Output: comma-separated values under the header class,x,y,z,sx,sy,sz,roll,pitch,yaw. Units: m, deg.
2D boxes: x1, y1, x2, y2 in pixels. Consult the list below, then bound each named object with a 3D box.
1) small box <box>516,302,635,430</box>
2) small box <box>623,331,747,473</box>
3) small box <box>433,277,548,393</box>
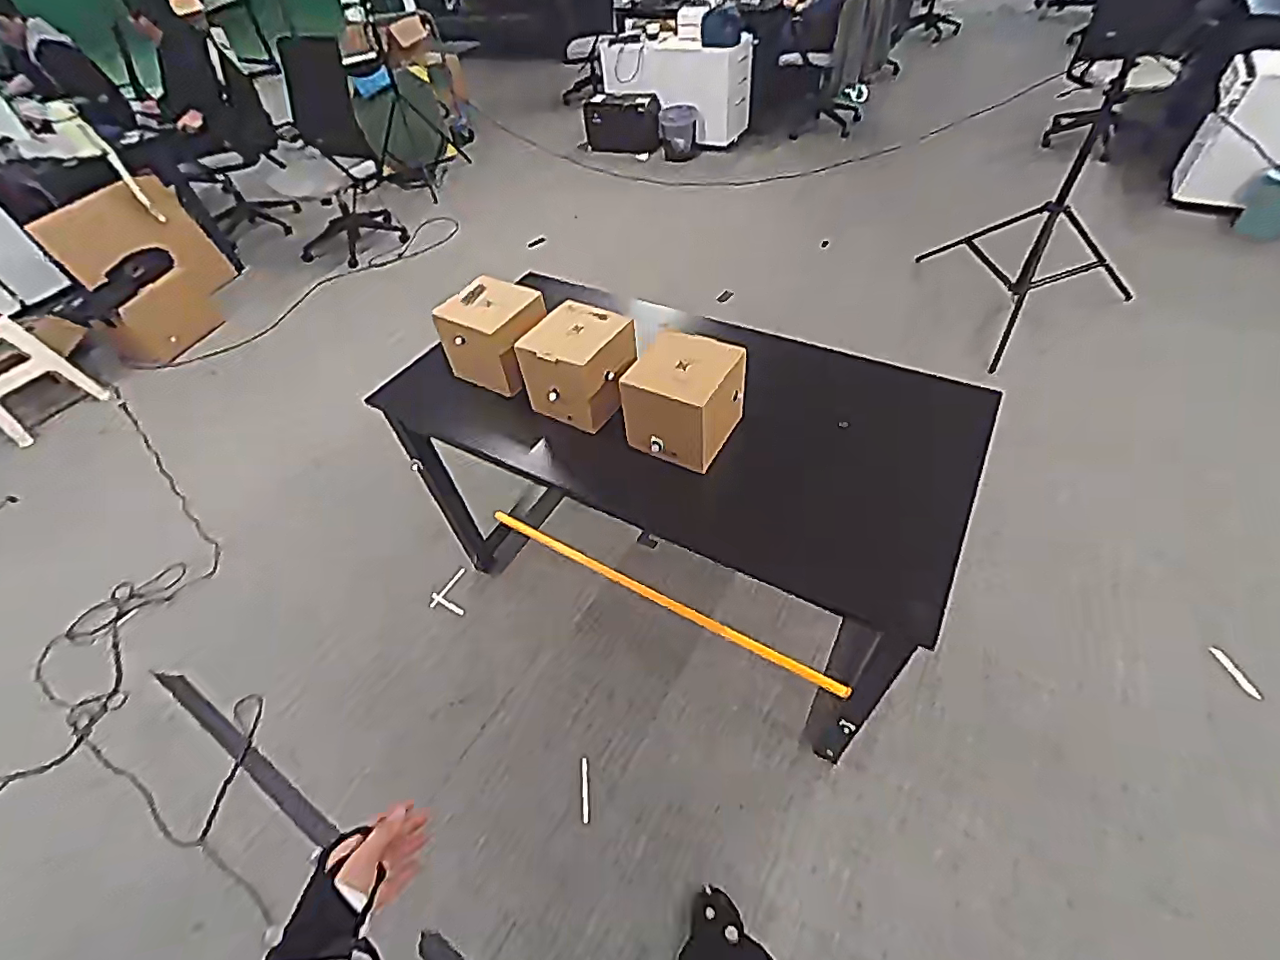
class,x,y,z,sx,sy,sz,roll,pitch,yaw
small box,-0.119,-0.230,1.102,0.168,0.176,0.179,23,56,22
small box,0.086,-0.147,1.012,0.168,0.176,0.179,21,55,23
small box,-0.313,-0.317,1.195,0.179,0.176,0.168,23,56,22
